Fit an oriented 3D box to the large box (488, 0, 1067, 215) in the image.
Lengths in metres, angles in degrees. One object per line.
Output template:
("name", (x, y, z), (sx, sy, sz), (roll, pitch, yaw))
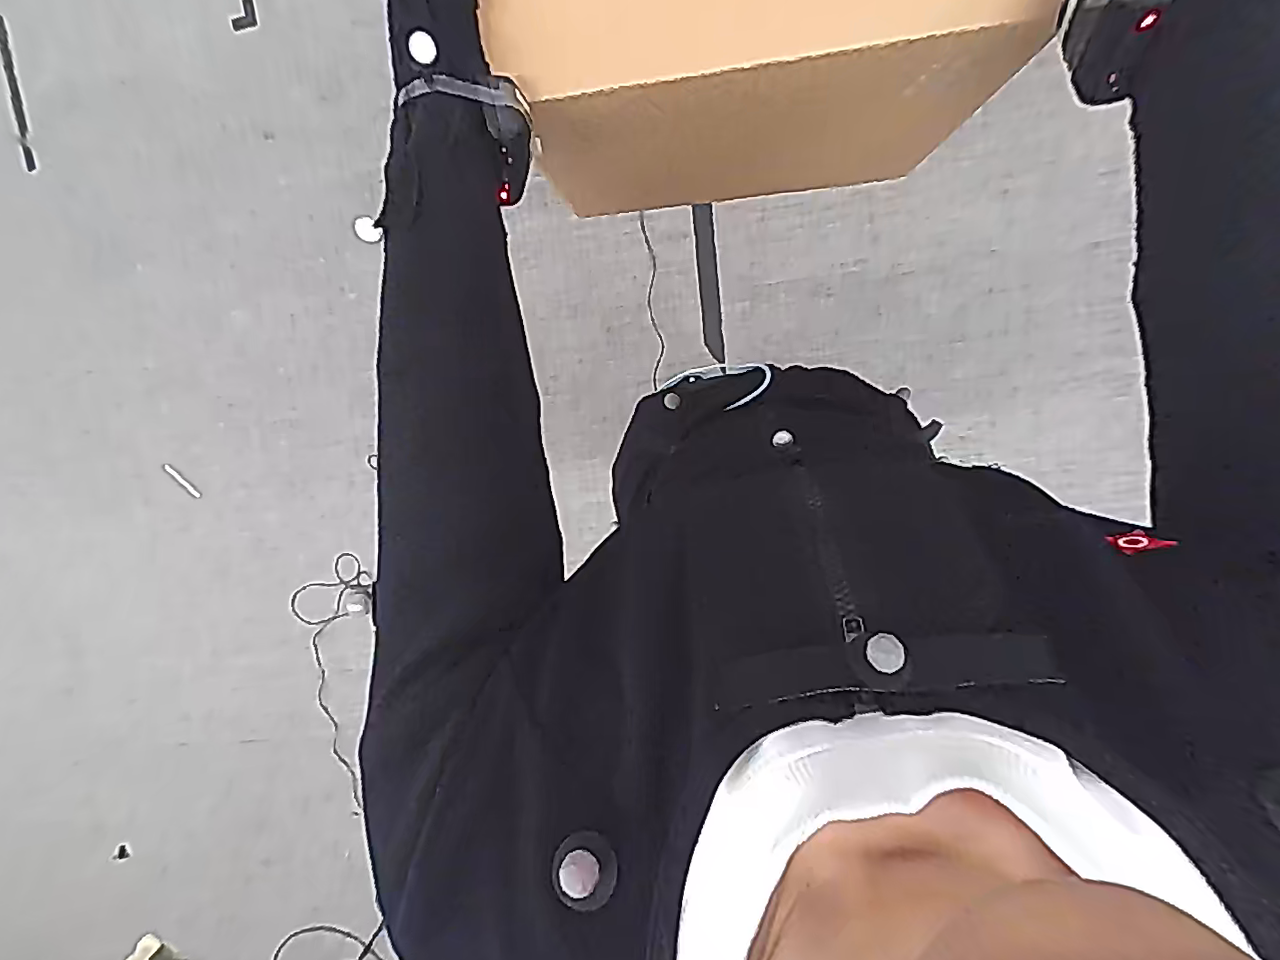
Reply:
("large box", (0.088, -0.474, 0.497), (0.408, 0.320, 0.320), (-5, 102, 6))
